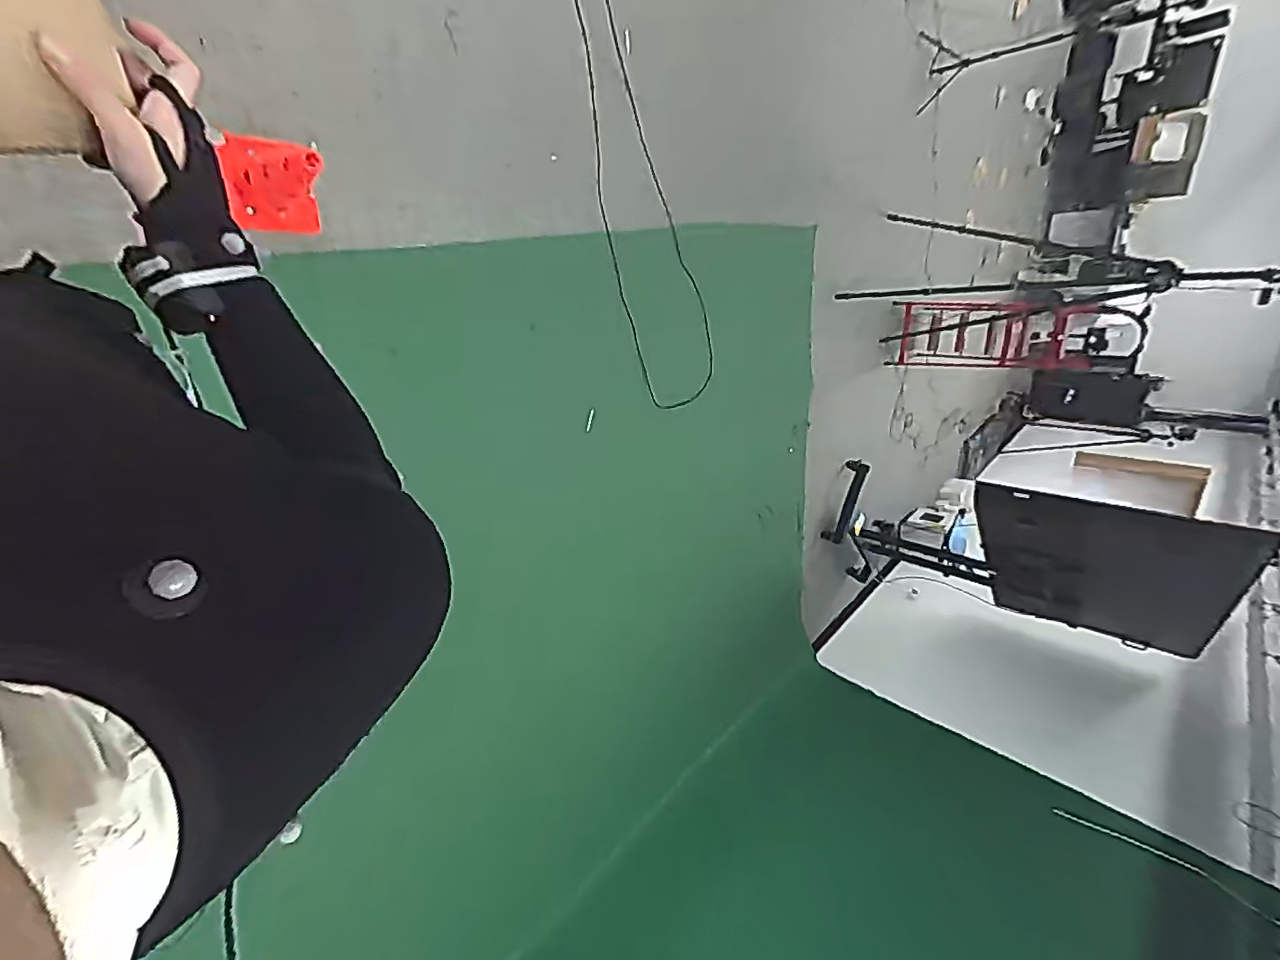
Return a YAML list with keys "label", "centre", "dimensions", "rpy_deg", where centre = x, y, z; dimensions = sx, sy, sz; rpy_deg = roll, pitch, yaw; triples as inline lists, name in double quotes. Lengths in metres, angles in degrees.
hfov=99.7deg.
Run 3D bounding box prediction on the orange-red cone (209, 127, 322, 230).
- label: "orange-red cone"
  centre: [-0.769, -0.673, 1.178]
  dimensions: [0.199, 0.360, 0.198]
  rpy_deg: [-18, 116, -44]
